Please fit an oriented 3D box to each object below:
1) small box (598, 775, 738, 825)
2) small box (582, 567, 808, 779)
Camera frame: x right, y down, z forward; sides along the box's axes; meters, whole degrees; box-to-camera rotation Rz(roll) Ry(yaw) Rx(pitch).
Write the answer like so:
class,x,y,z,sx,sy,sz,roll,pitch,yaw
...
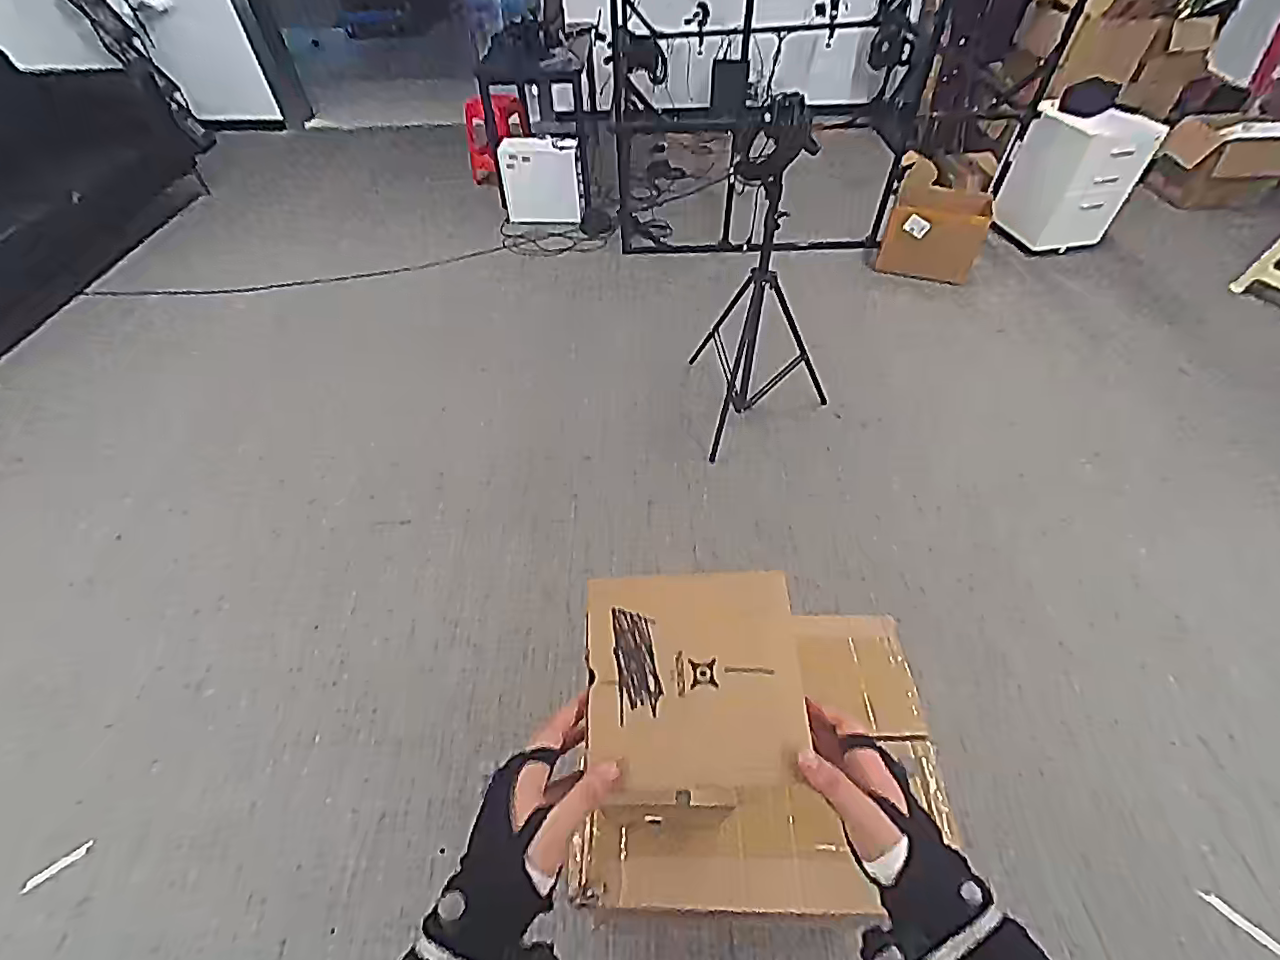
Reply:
class,x,y,z,sx,sy,sz,roll,pitch,yaw
small box,0.034,0.355,0.736,0.168,0.176,0.179,-1,52,2
small box,0.042,0.190,0.518,0.179,0.176,0.168,-3,64,0
